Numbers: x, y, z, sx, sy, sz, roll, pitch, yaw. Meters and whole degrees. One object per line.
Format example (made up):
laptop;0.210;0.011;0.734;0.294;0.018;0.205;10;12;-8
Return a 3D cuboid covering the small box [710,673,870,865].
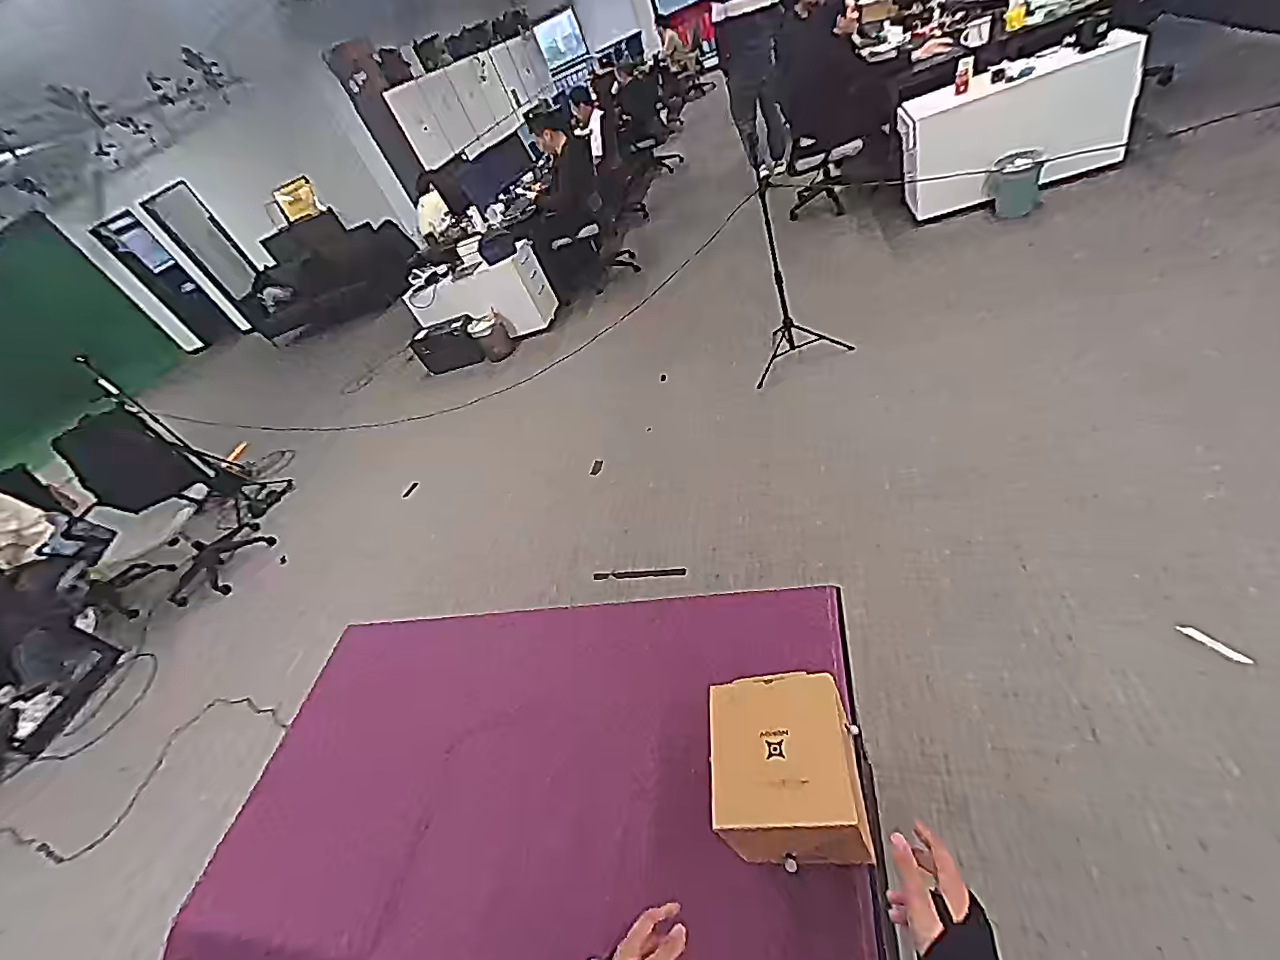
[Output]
small box;0.196;0.382;0.716;0.168;0.176;0.179;-13;40;19
